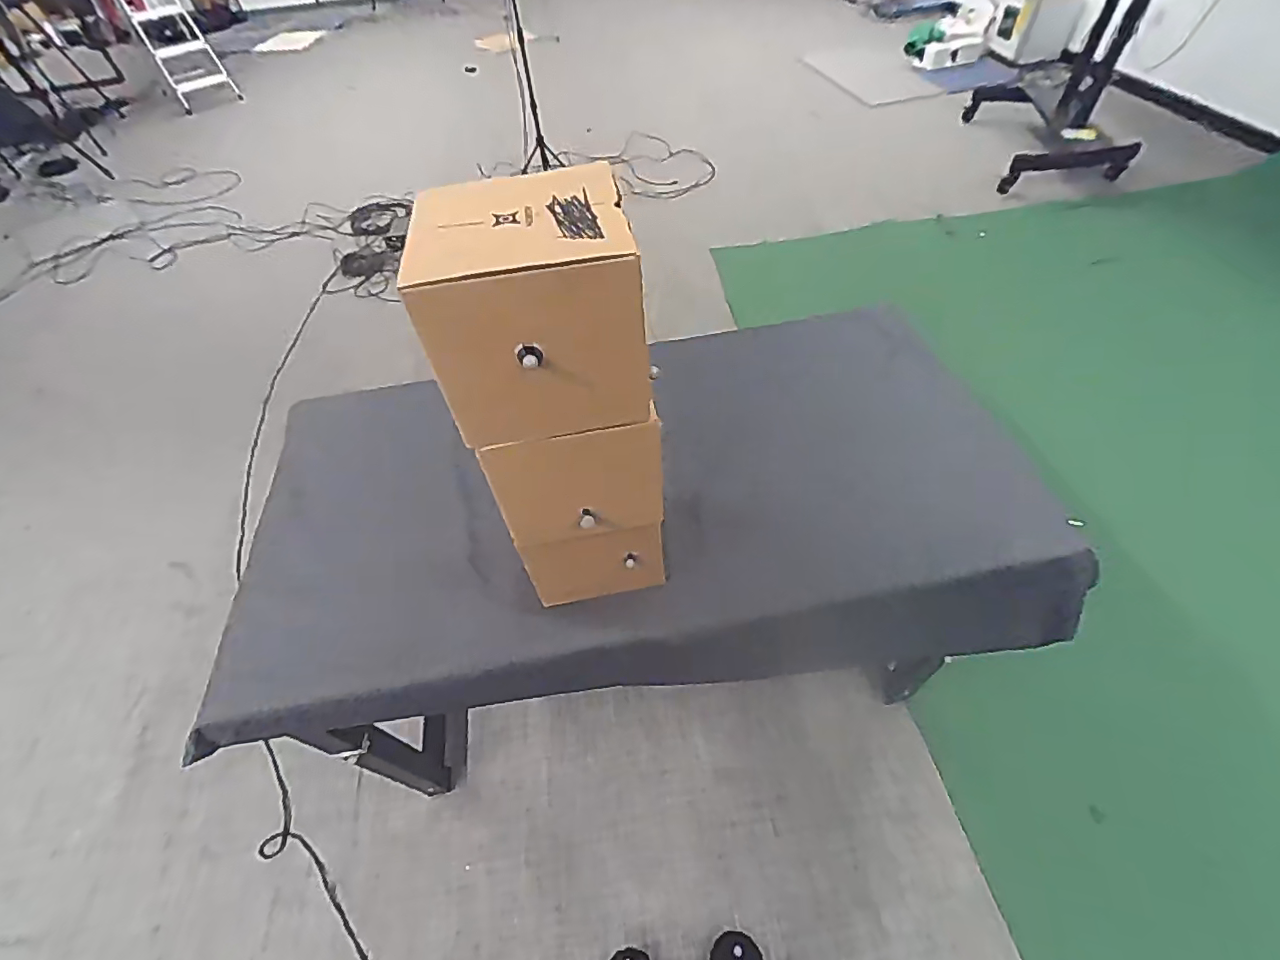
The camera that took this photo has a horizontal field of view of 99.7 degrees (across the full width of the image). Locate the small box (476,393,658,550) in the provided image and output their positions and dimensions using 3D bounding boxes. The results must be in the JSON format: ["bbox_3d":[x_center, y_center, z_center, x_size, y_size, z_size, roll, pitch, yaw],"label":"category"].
[{"bbox_3d":[-0.078,-0.039,0.623,0.179,0.176,0.168,-10,50,-4],"label":"small box"}]

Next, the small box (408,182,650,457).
[{"bbox_3d":[-0.092,-0.144,0.497,0.179,0.176,0.168,-11,51,-6],"label":"small box"}]

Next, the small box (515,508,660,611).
[{"bbox_3d":[-0.070,0.060,0.753,0.179,0.176,0.168,-11,50,-2],"label":"small box"}]
